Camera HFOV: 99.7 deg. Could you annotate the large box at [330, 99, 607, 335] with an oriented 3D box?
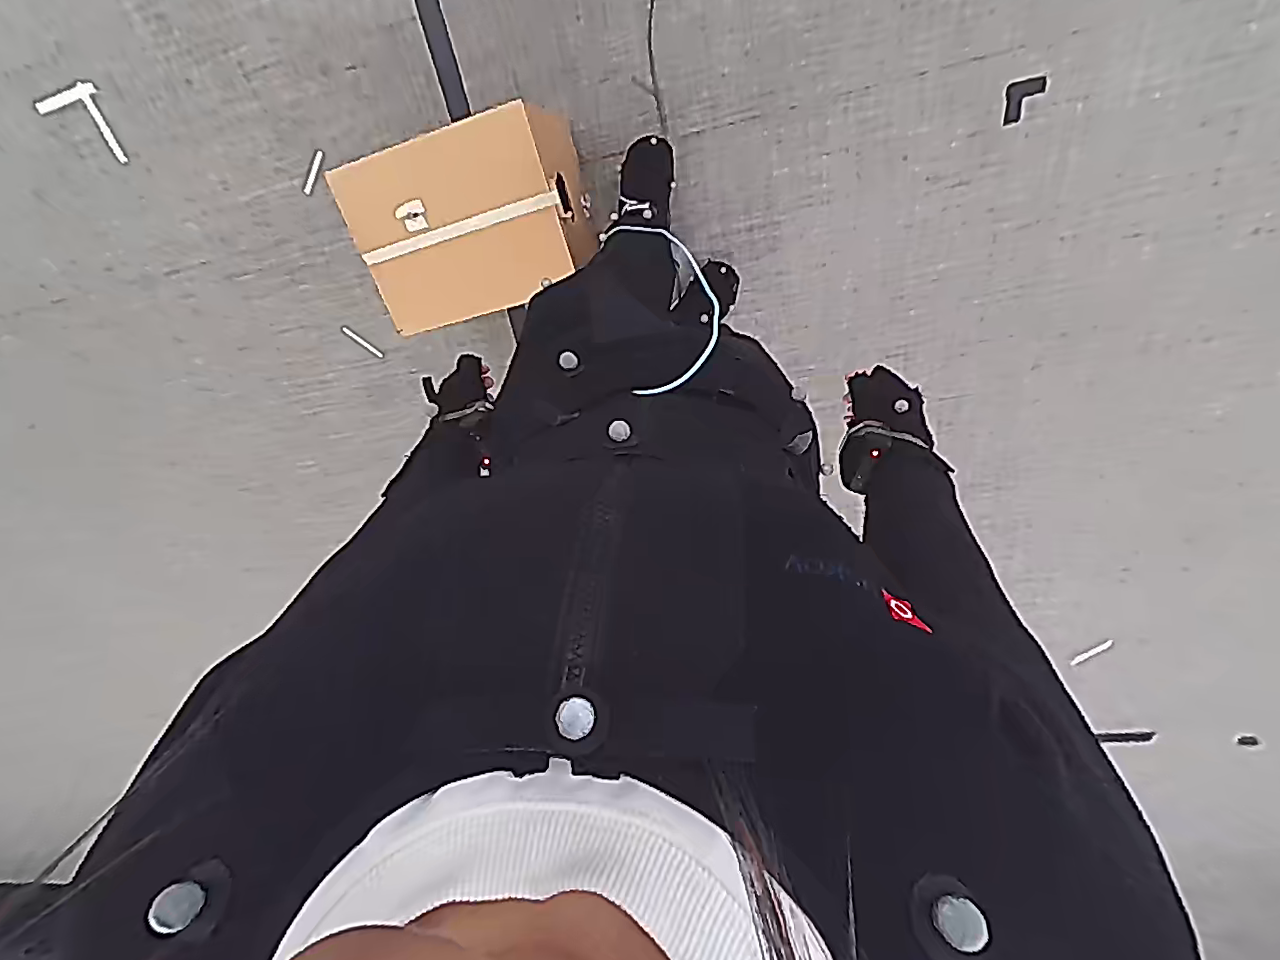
[{"bbox_3d":[-0.323,-0.540,1.137,0.408,0.320,0.320,-10,116,14],"label":"large box"}]
